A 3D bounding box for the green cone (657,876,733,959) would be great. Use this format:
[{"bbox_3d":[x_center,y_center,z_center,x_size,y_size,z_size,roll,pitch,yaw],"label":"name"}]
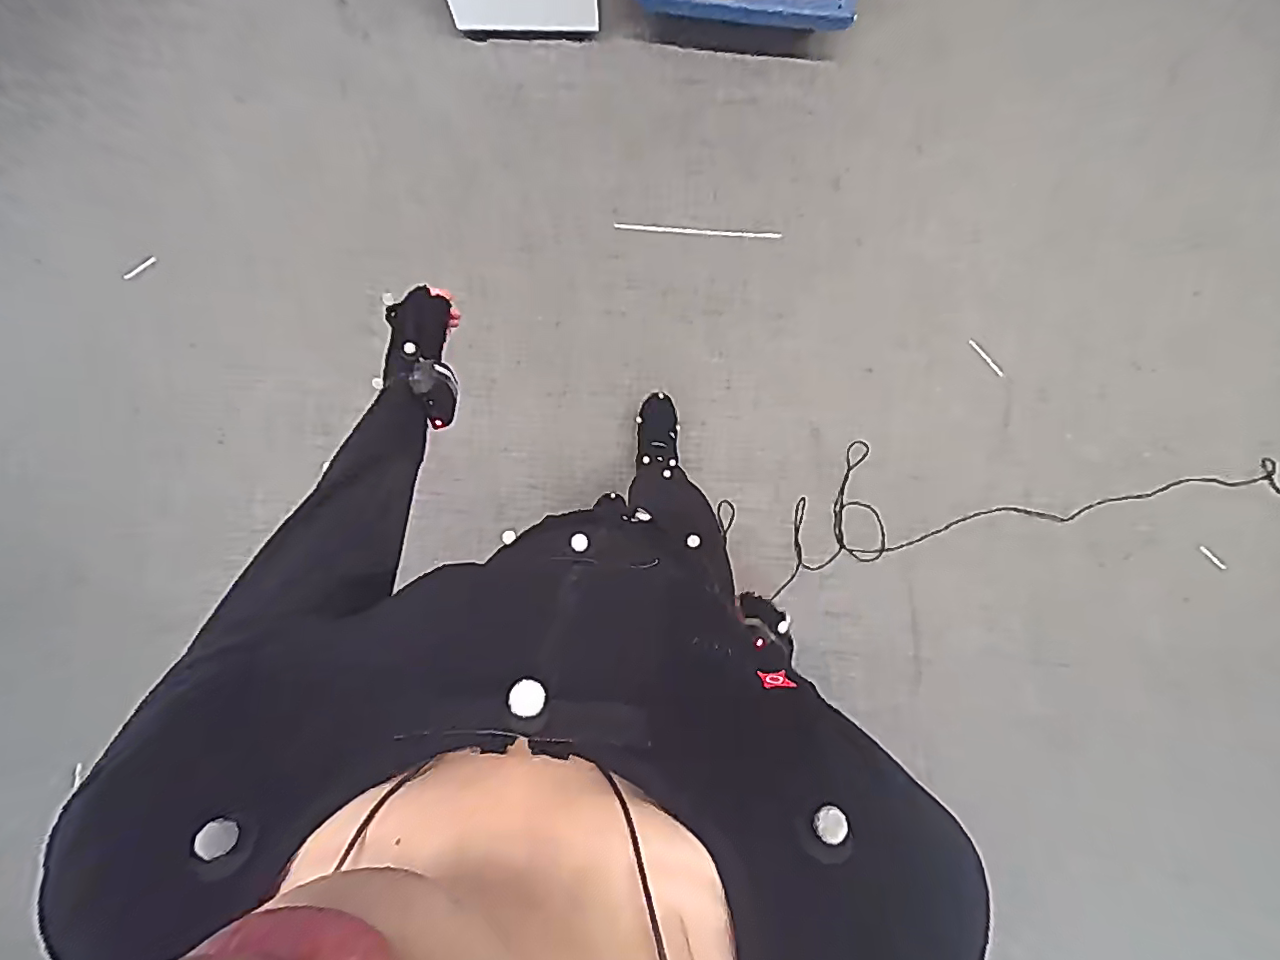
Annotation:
[{"bbox_3d":[0.159,1.193,1.318,0.200,0.368,0.202,6,87,-2],"label":"green cone"}]
